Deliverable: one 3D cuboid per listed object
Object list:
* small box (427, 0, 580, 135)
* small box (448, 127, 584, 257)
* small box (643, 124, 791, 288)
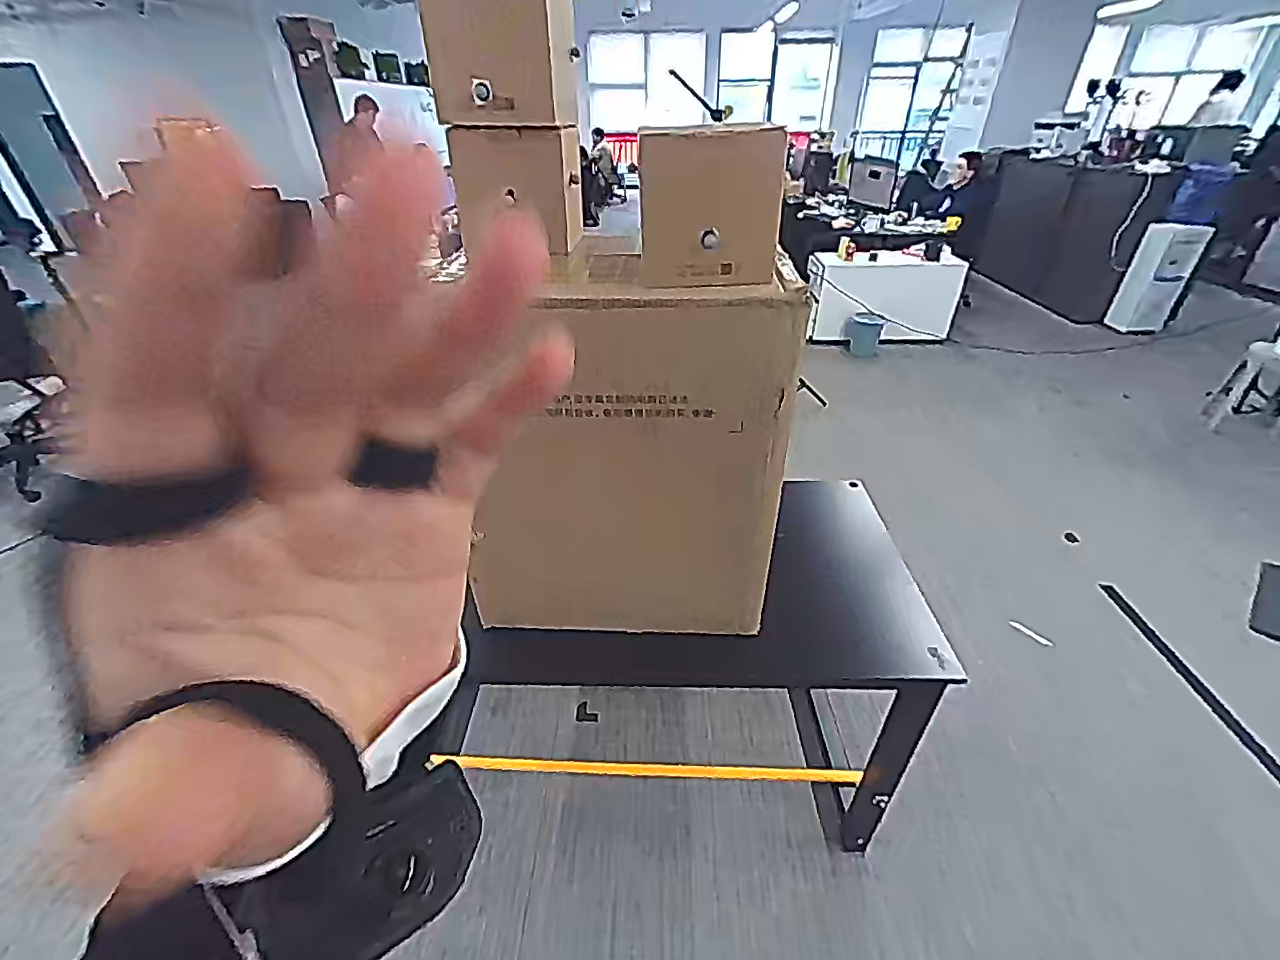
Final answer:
[{"bbox_3d":[-0.179,-0.585,0.752,0.168,0.176,0.179,2,34,4],"label":"small box"},{"bbox_3d":[-0.181,-0.458,0.856,0.168,0.176,0.179,2,34,2],"label":"small box"},{"bbox_3d":[0.087,-0.359,0.705,0.168,0.176,0.179,-2,36,1],"label":"small box"}]
